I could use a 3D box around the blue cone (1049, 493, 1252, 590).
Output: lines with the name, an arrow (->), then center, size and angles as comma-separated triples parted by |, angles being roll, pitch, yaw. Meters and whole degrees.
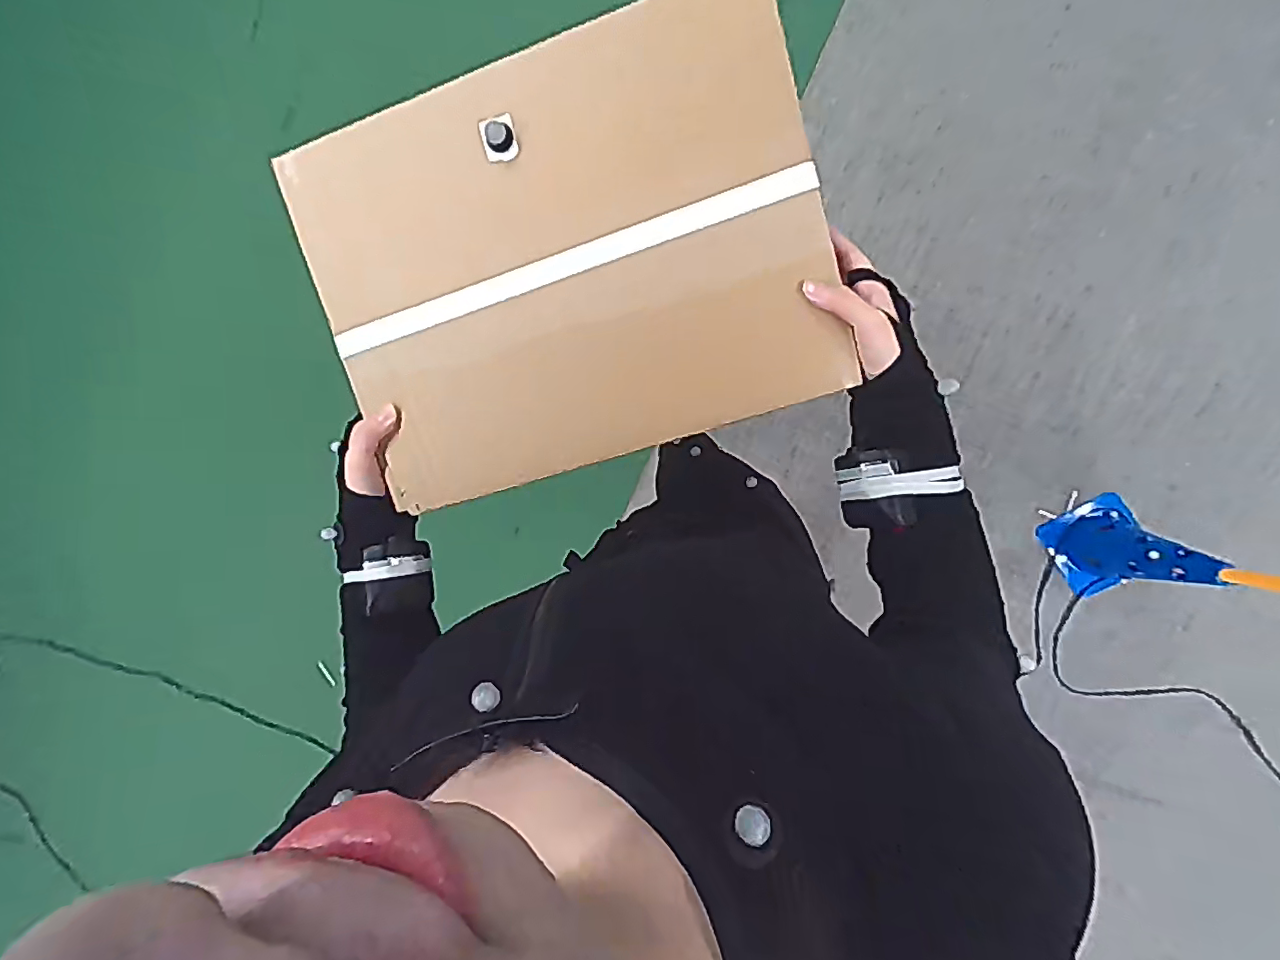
blue cone -> 1.066, 0.150, 1.119 | 0.192, 0.380, 0.193 | -34, 85, 9
